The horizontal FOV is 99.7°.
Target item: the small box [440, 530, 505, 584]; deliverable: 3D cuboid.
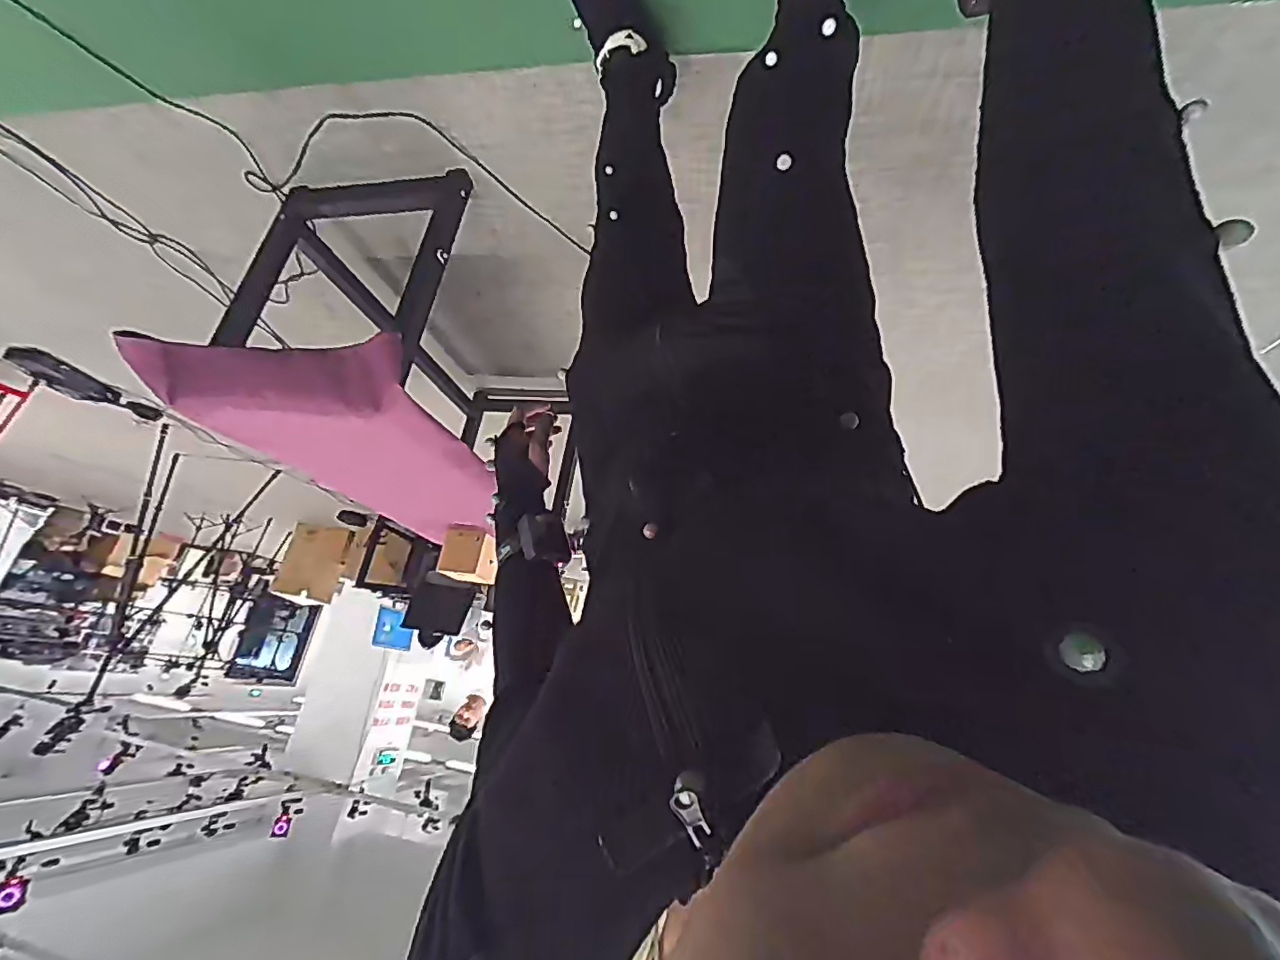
[{"bbox_3d":[-0.649,0.301,2.111,0.168,0.176,0.179,5,160,13],"label":"small box"}]
